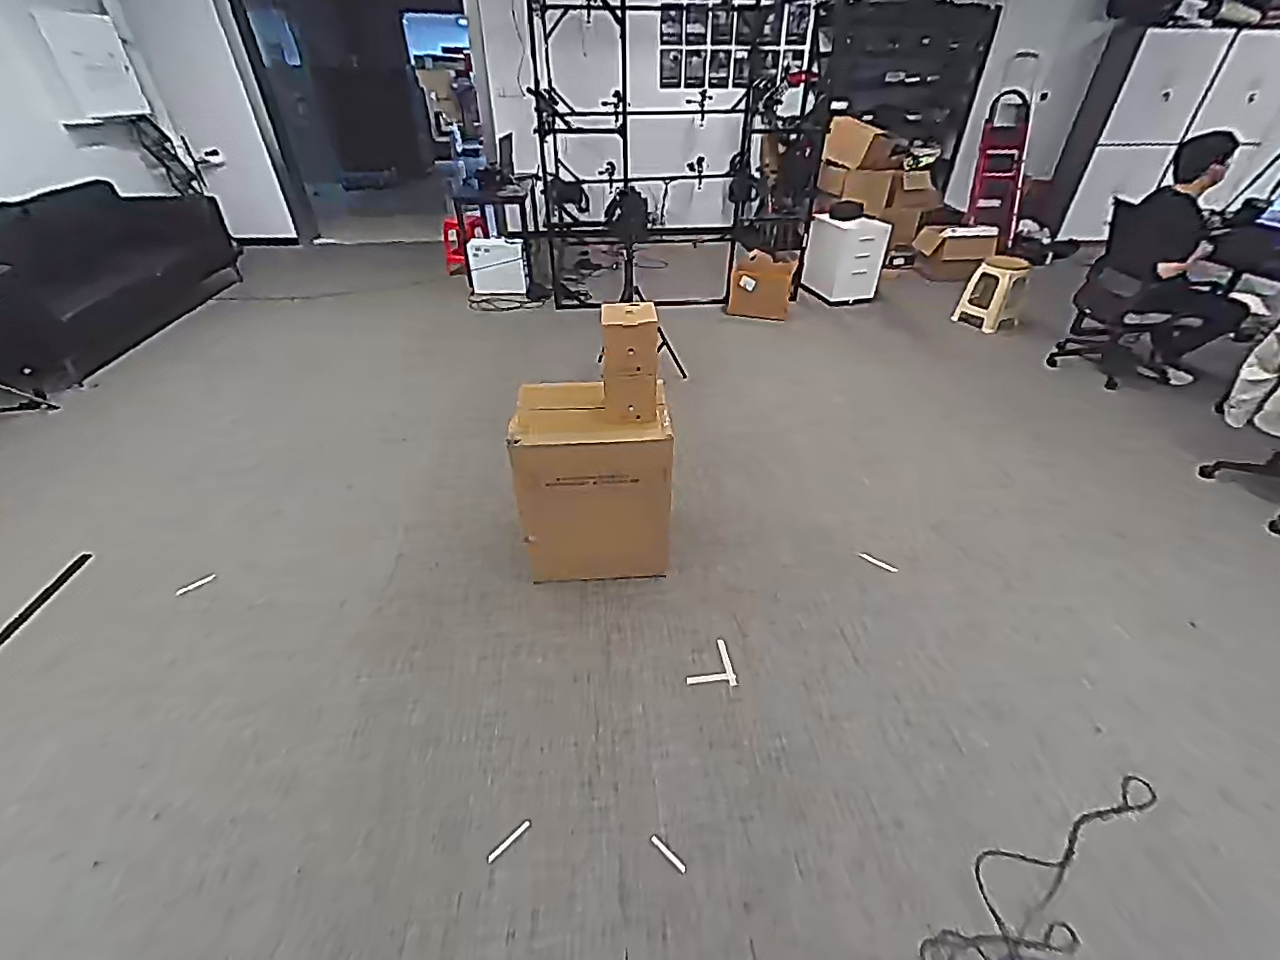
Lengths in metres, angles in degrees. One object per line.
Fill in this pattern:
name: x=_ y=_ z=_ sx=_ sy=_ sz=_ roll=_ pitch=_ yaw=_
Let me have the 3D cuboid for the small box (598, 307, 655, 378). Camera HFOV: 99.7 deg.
small box: x=-0.041 y=-0.426 z=1.691 sx=0.168 sy=0.176 sz=0.179 roll=-3 pitch=38 yaw=-2

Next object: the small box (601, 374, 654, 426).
small box: x=-0.043 y=-0.292 z=1.787 sx=0.168 sy=0.176 sz=0.179 roll=-4 pitch=38 yaw=-3
